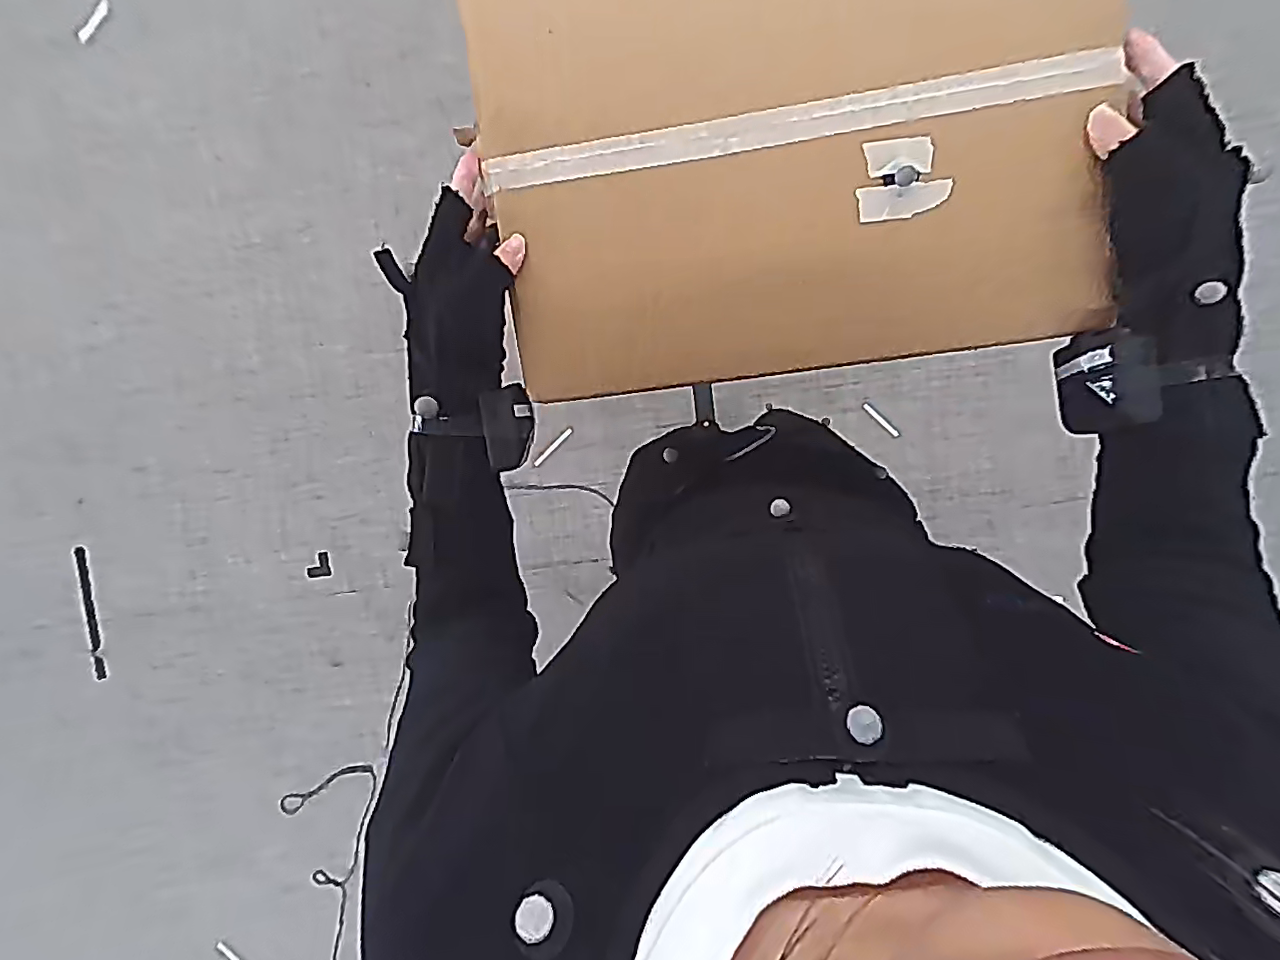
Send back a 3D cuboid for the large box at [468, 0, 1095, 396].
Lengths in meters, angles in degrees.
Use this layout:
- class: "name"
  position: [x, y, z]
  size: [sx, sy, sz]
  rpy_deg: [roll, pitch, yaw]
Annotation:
- class: "large box"
  position: [0.103, -0.266, 0.513]
  size: [0.408, 0.320, 0.320]
  rpy_deg: [-7, 101, 4]
